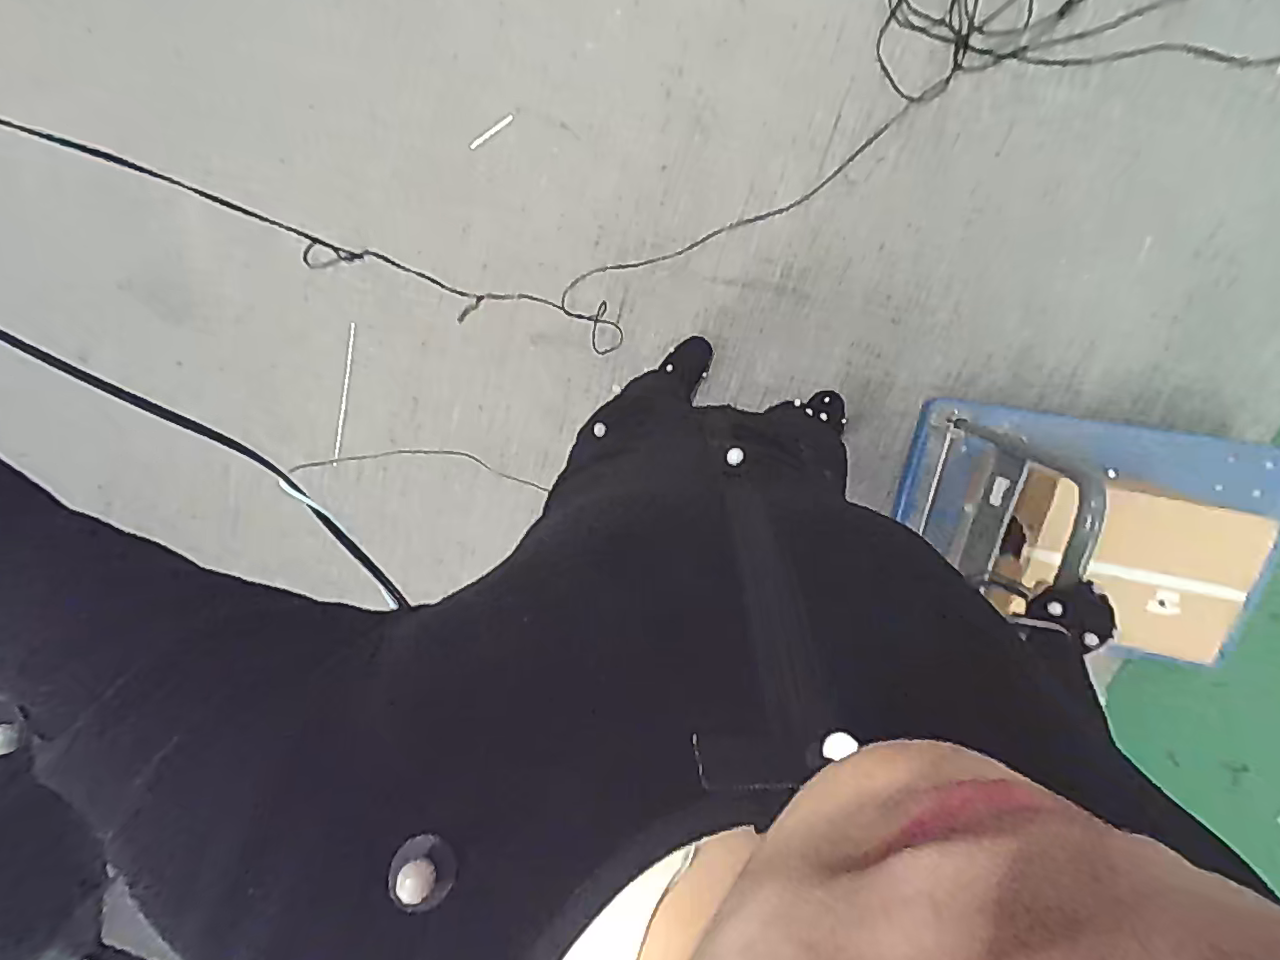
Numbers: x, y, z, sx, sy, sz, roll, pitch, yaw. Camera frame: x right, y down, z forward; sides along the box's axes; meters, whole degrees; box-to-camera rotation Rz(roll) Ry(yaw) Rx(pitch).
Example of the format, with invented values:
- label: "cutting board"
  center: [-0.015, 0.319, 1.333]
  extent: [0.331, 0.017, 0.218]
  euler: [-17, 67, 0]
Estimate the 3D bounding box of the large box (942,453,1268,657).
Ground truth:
- label: "large box"
  center: [0.977, 0.142, 1.208]
  extent: [0.408, 0.320, 0.320]
  euler: [11, 106, 4]
